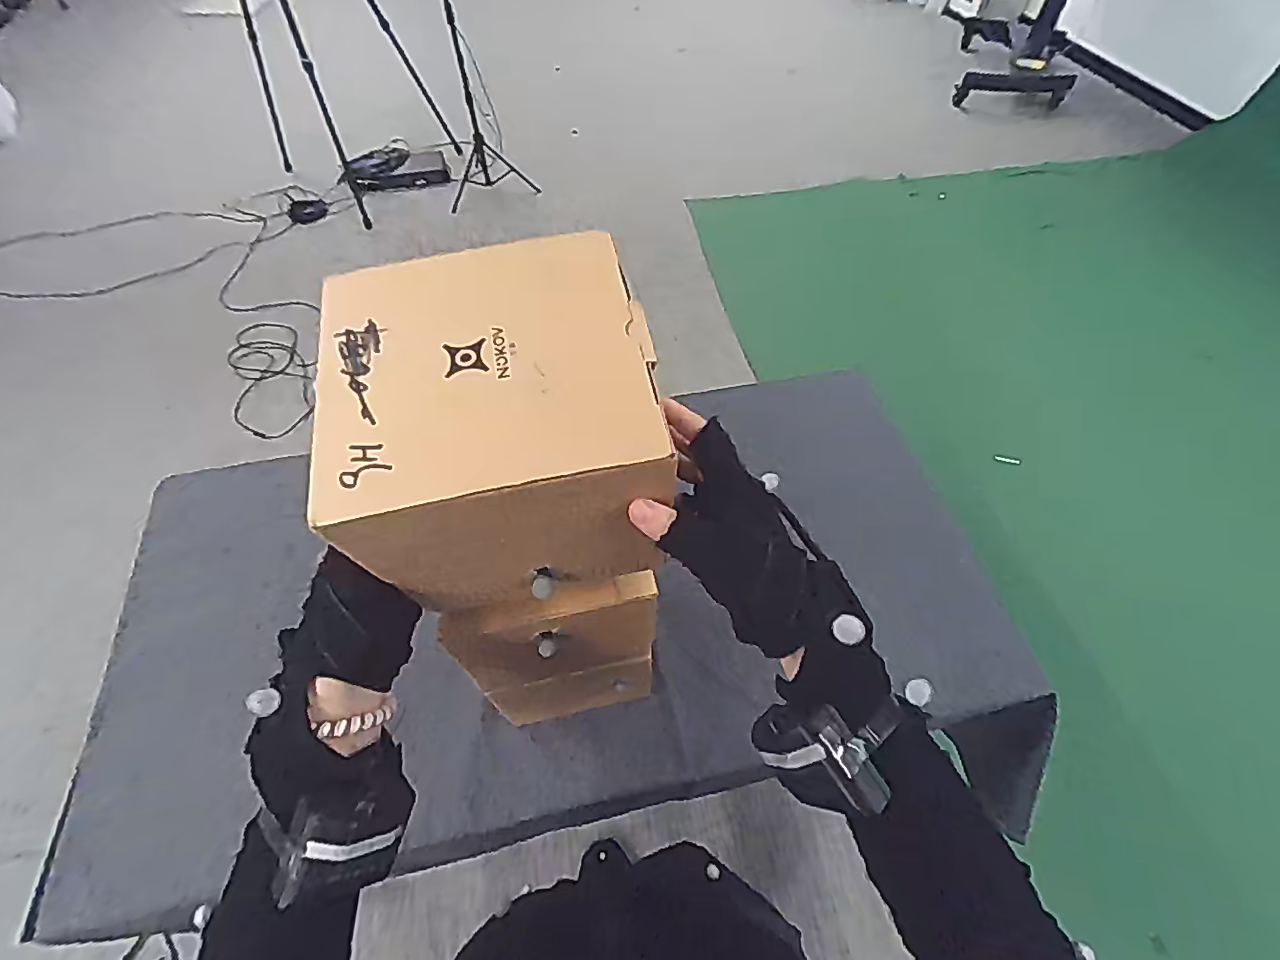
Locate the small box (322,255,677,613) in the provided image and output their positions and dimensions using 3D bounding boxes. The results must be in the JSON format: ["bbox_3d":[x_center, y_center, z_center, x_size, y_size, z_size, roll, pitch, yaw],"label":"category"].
[{"bbox_3d":[-0.082,-0.022,0.372,0.179,0.176,0.168,-10,61,-6],"label":"small box"}]

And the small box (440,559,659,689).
[{"bbox_3d":[-0.087,0.090,0.536,0.179,0.176,0.168,-11,56,-7],"label":"small box"}]
